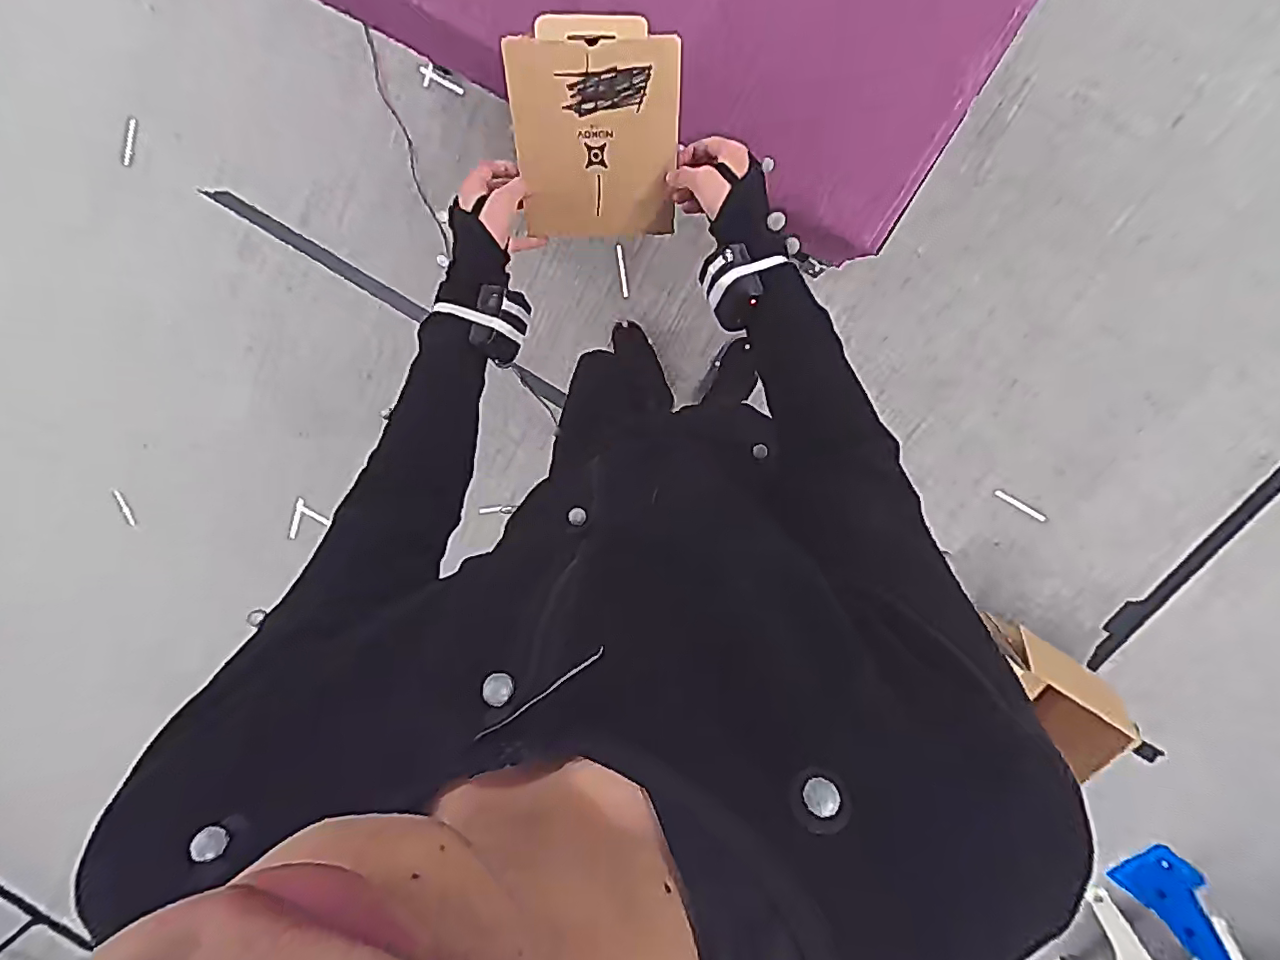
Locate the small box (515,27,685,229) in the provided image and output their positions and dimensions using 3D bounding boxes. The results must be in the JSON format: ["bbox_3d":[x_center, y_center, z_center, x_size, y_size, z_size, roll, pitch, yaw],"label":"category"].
[{"bbox_3d":[-0.042,-0.397,0.624,0.168,0.176,0.179,-1,123,-1],"label":"small box"}]
